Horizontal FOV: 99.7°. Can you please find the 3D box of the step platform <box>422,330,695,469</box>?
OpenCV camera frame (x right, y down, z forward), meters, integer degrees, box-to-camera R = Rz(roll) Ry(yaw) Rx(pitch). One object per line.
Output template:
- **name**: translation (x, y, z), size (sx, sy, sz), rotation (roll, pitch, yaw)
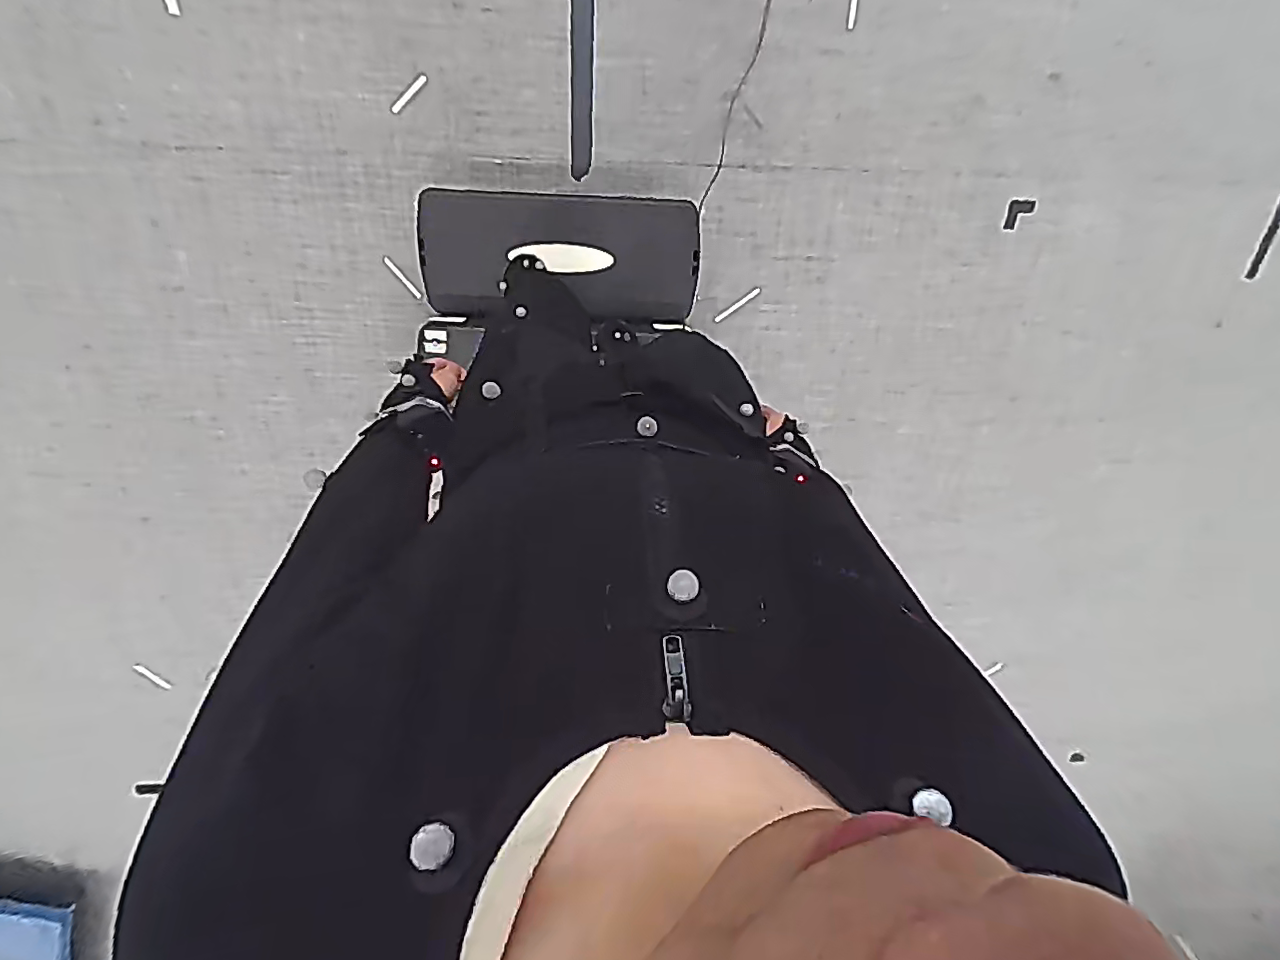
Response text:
- **step platform**: translation (-0.200, -0.207, 1.402), size (0.684, 0.204, 0.286), rotation (5, 110, -4)
